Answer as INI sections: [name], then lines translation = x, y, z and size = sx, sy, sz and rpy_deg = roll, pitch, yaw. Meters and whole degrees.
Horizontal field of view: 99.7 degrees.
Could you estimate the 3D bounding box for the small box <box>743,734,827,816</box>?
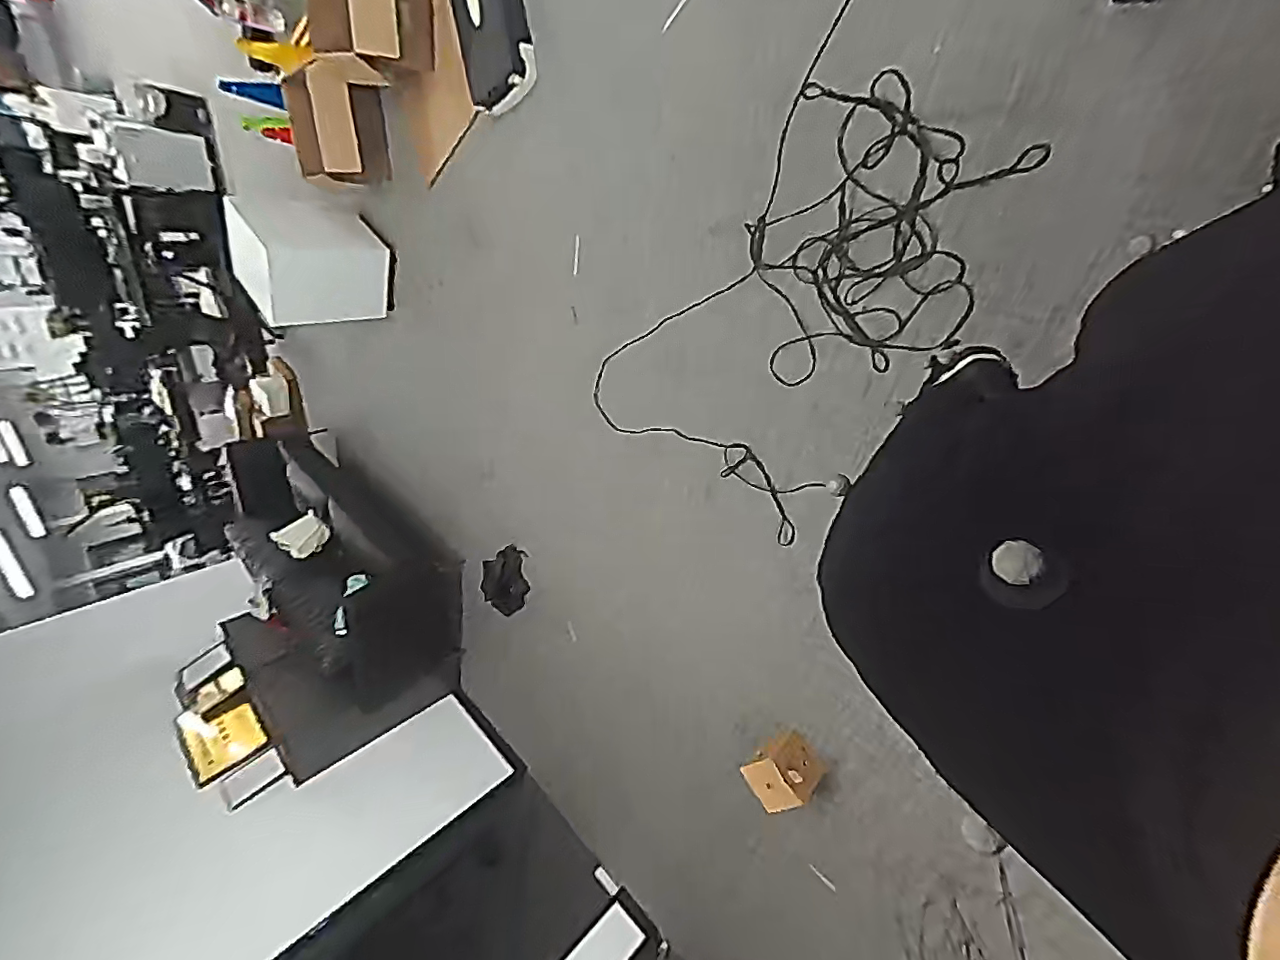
[small box]
translation = 0.490, 0.989, 1.816
size = 0.168, 0.176, 0.179
rpy_deg = 54, 135, 16
